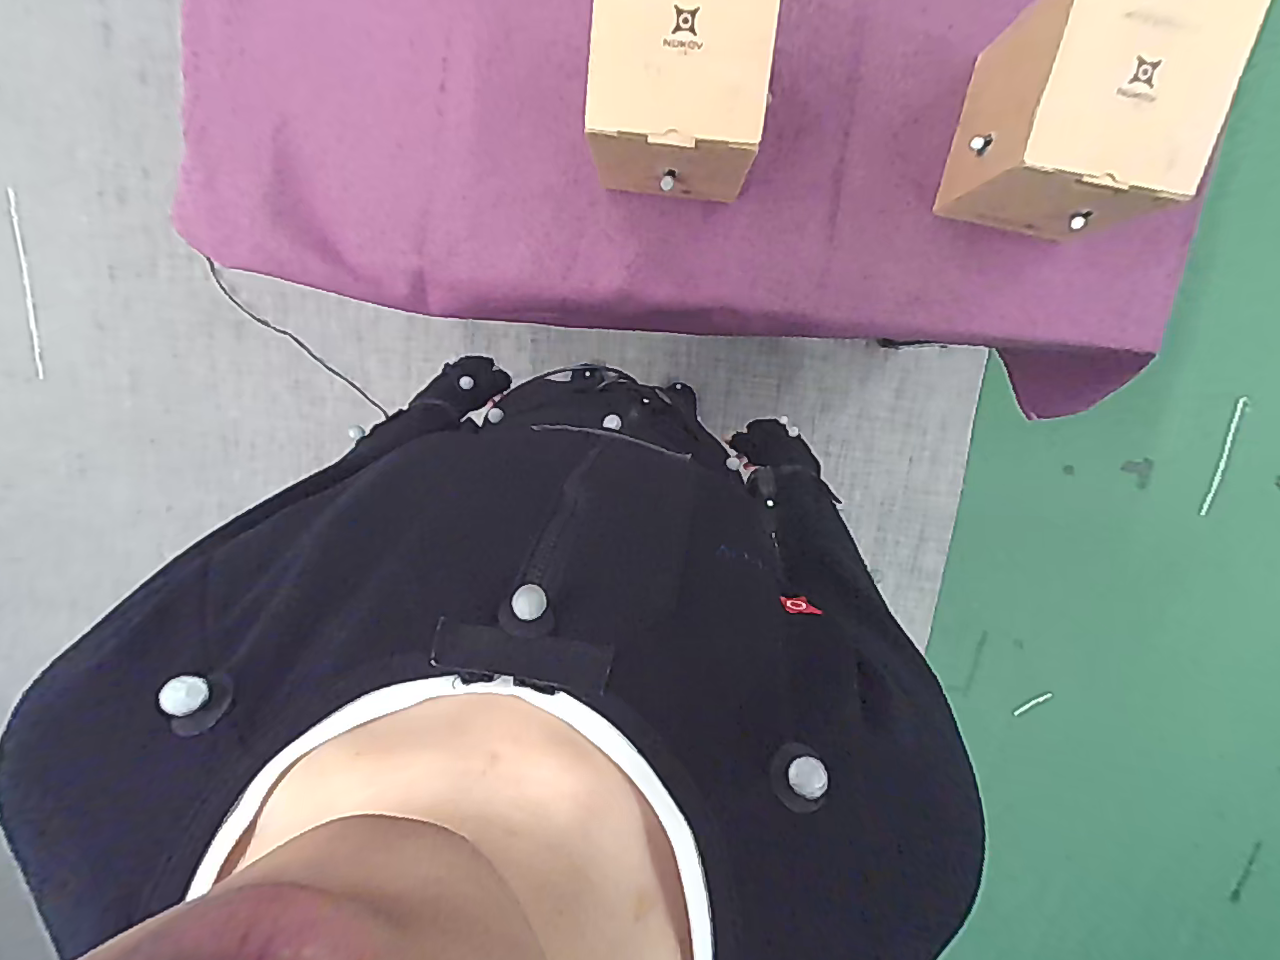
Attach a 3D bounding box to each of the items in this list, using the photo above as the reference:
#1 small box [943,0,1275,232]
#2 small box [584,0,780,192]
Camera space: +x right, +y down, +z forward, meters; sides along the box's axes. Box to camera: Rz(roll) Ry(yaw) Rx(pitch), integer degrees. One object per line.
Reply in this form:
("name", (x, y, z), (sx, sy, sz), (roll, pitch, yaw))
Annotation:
("small box", (0.445, -0.373, 0.552), (0.168, 0.176, 0.179), (12, 102, -1))
("small box", (0.042, -0.417, 0.557), (0.168, 0.176, 0.179), (7, 103, 0))
